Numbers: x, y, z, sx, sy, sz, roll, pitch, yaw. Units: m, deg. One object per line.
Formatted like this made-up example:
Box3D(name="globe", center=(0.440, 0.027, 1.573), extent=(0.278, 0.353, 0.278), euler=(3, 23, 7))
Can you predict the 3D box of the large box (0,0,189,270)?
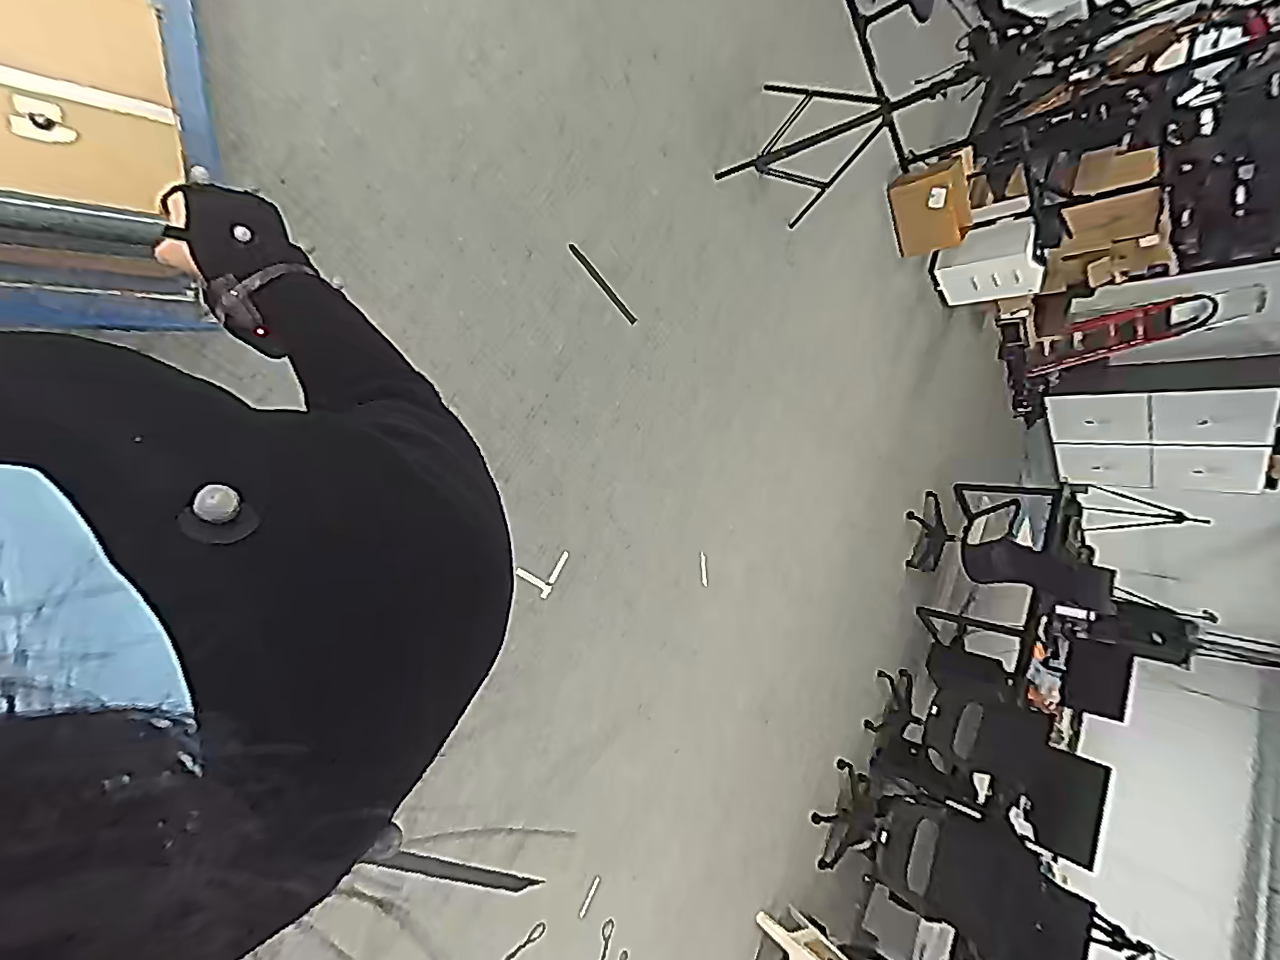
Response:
Box3D(name="large box", center=(-0.918, -0.502, 0.741), extent=(0.408, 0.320, 0.320), euler=(-10, 101, -44))
